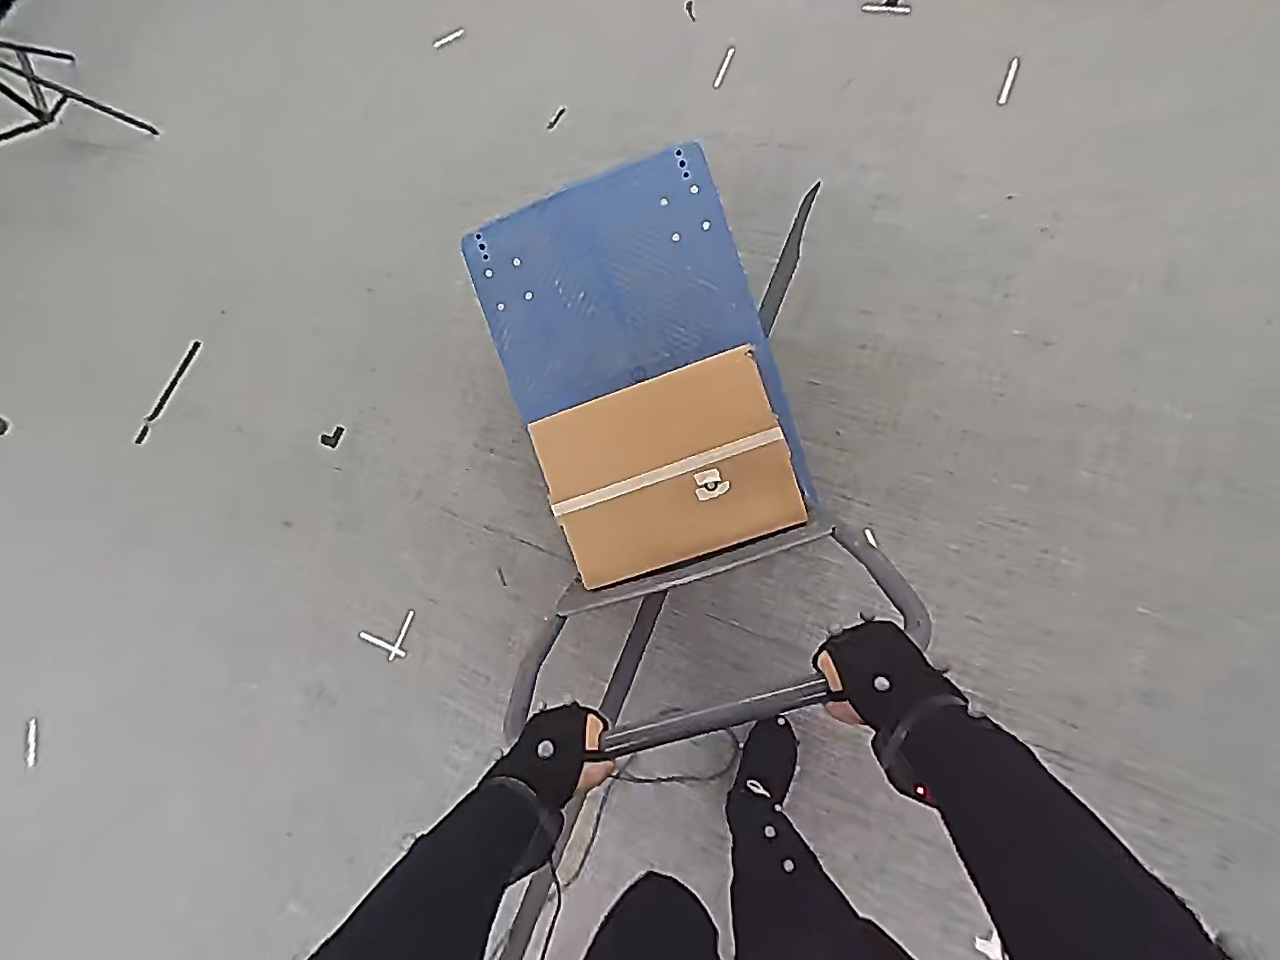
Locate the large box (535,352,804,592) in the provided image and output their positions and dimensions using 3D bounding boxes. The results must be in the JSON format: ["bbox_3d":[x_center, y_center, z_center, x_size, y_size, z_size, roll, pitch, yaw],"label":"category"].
[{"bbox_3d":[0.059,-0.016,1.089,0.408,0.320,0.320,-20,93,6],"label":"large box"}]
